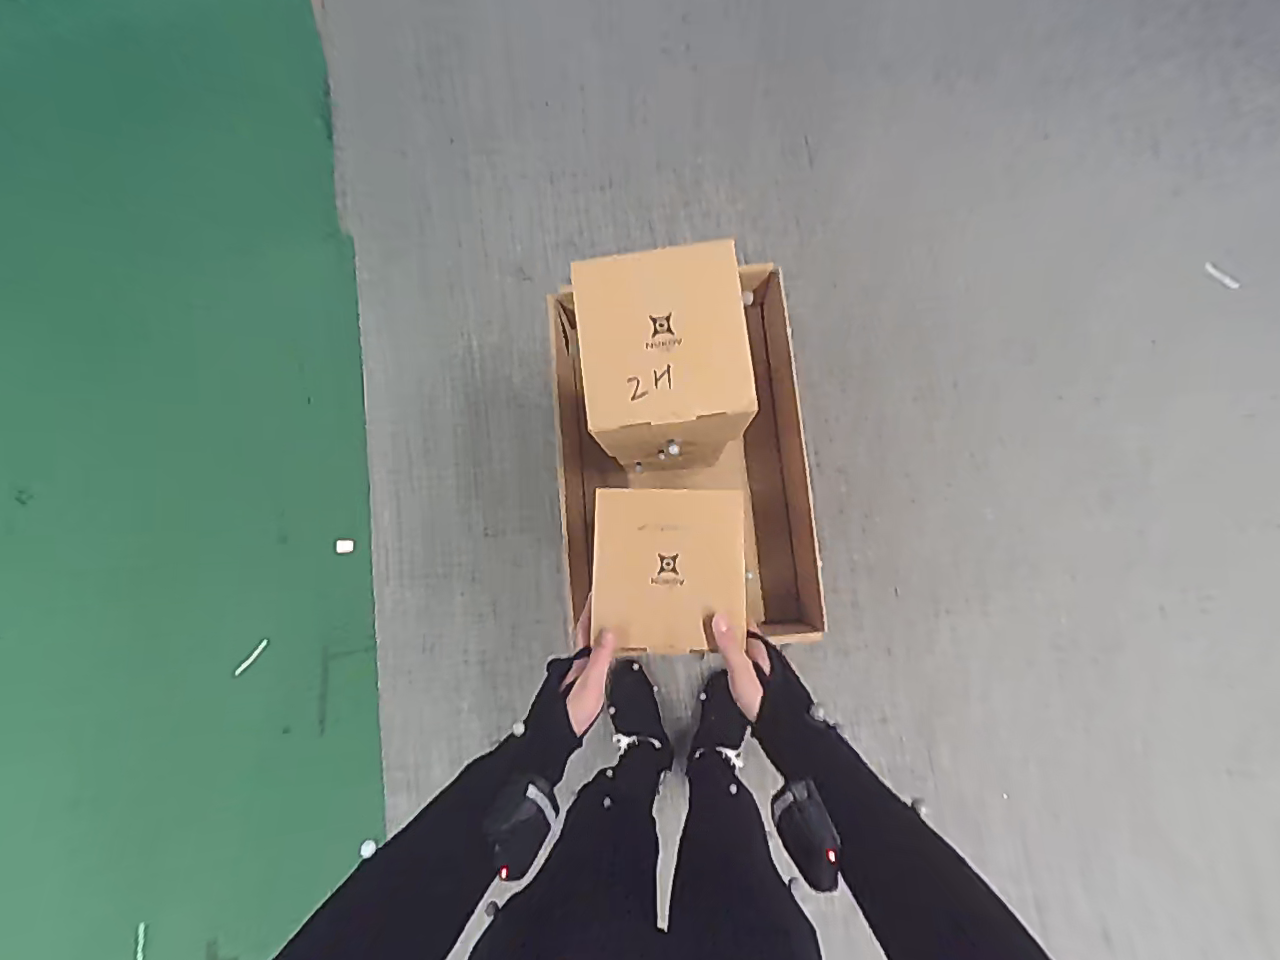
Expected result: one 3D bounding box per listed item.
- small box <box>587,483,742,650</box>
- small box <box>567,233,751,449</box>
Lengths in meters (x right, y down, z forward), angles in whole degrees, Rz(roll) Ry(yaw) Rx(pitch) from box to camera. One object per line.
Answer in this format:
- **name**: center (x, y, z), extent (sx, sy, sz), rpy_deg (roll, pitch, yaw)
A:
- **small box**: center (0.034, 0.105, 0.655), extent (0.168, 0.176, 0.179), rpy_deg (0, 78, 4)
- **small box**: center (0.021, -0.141, 0.607), extent (0.168, 0.176, 0.179), rpy_deg (-8, 84, 4)
